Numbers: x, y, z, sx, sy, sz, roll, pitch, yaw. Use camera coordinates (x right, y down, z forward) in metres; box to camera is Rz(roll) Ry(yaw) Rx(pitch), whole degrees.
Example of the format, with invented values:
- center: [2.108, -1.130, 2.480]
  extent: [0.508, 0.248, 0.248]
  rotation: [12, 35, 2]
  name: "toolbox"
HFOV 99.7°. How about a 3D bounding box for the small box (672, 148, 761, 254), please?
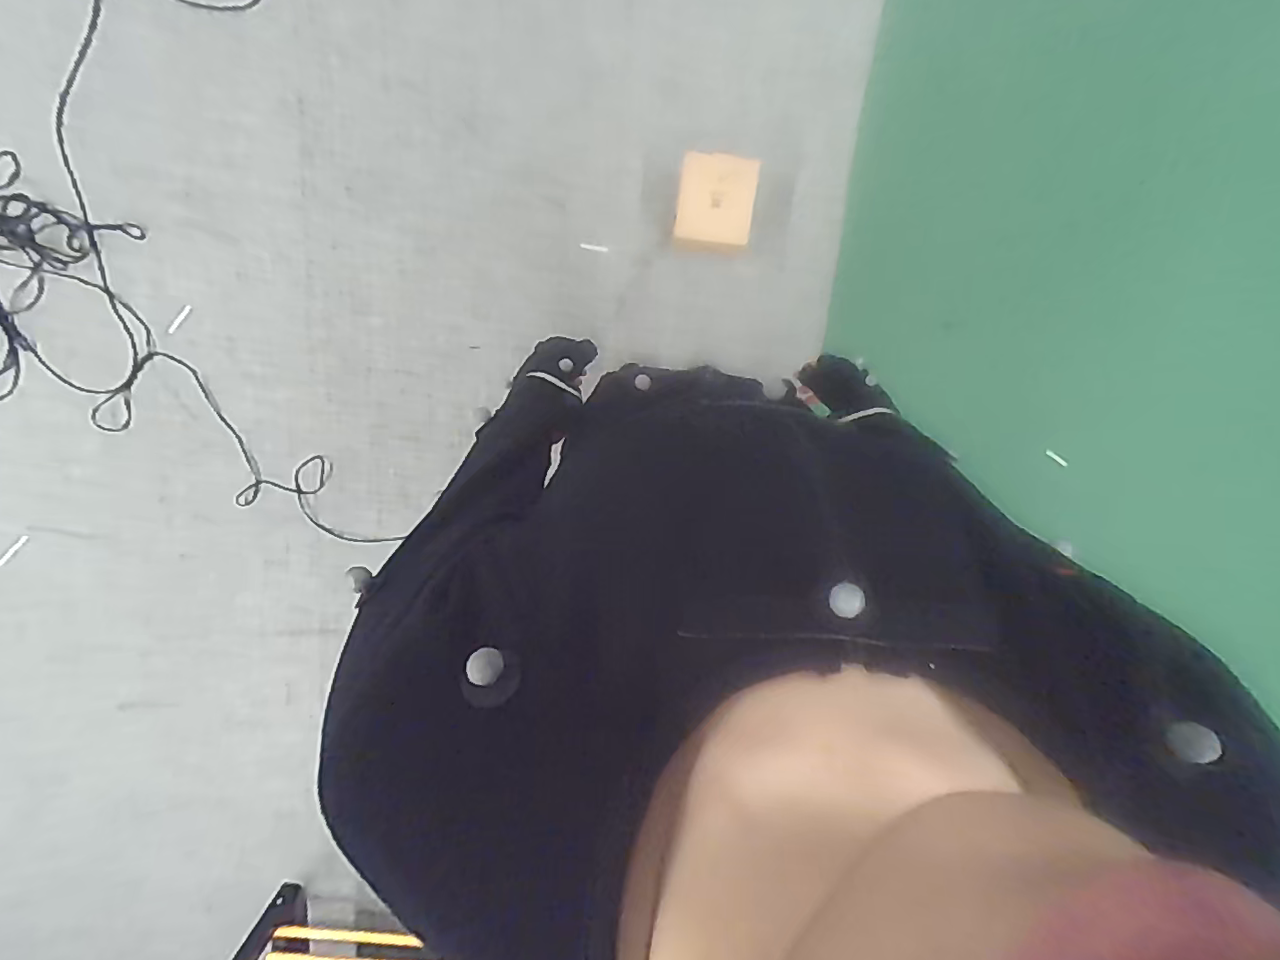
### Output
- center: [0.168, -0.633, 1.246]
  extent: [0.168, 0.176, 0.179]
  rotation: [7, 104, -2]
  name: "small box"
